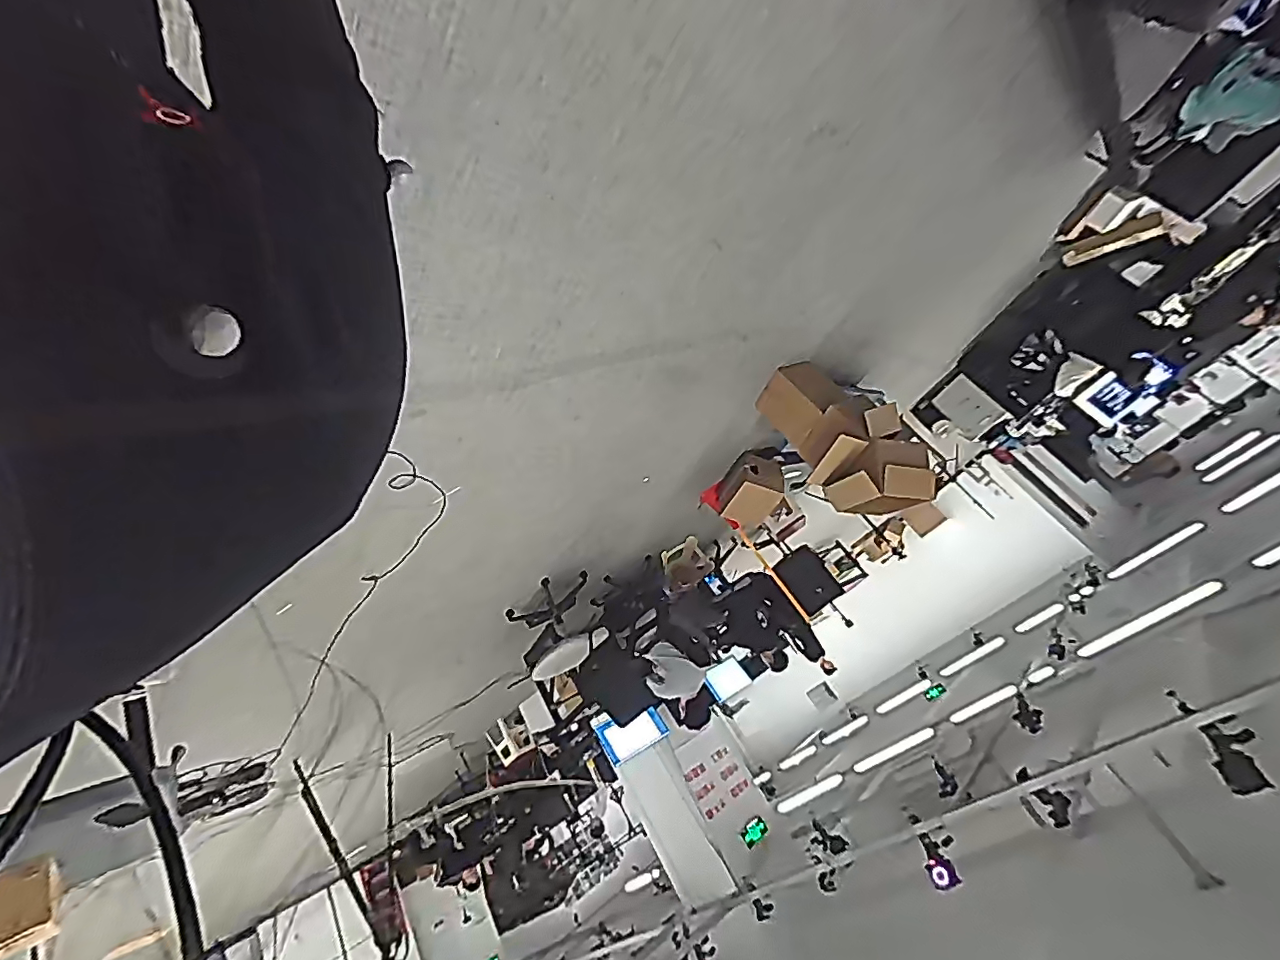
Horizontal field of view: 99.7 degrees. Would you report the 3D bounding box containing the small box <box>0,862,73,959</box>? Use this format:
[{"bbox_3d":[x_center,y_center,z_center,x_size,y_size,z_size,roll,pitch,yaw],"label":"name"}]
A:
[{"bbox_3d":[-1.605,1.133,1.400,0.168,0.176,0.179,-9,145,-44],"label":"small box"}]
